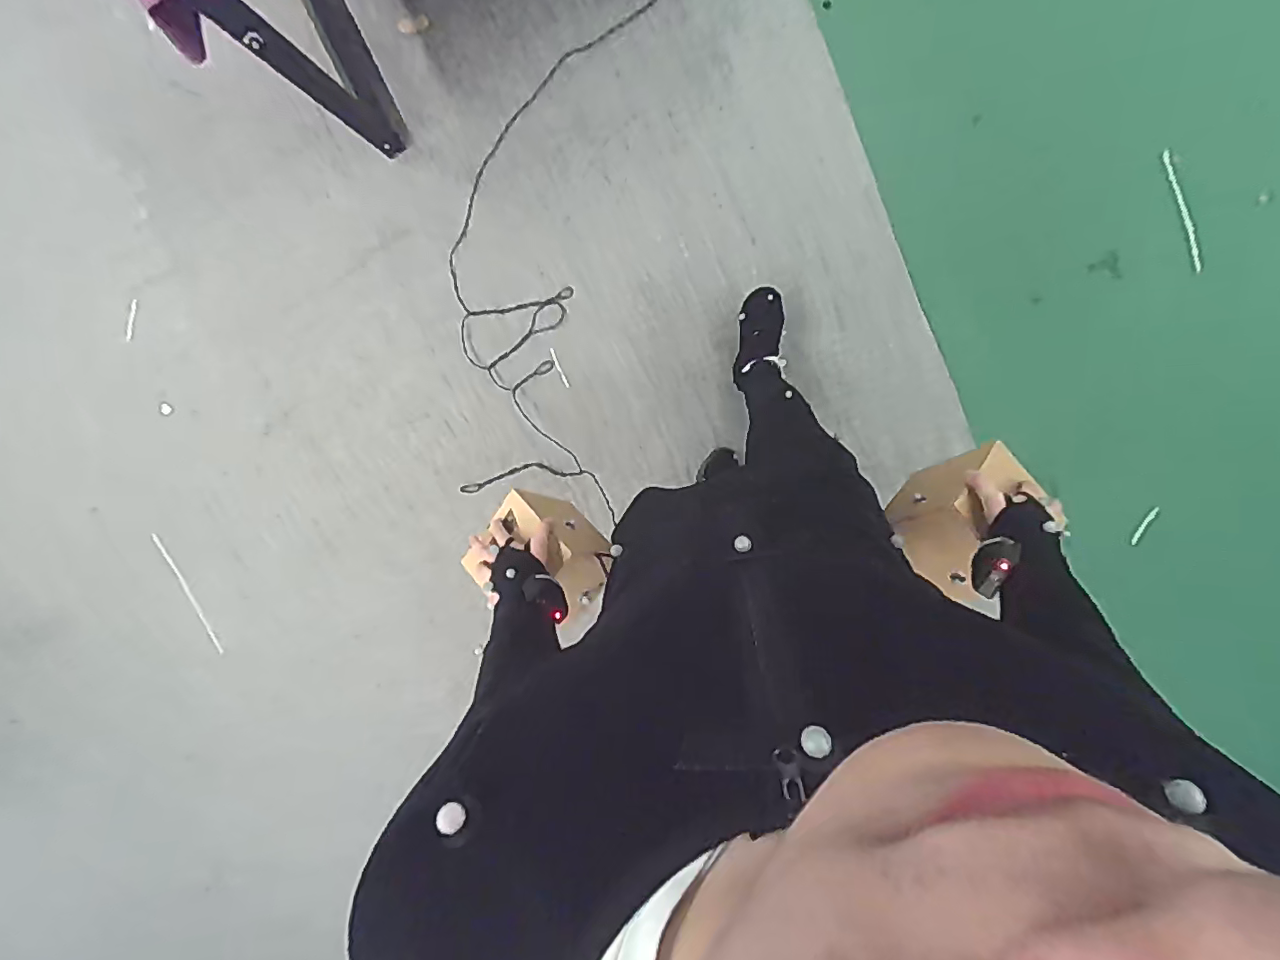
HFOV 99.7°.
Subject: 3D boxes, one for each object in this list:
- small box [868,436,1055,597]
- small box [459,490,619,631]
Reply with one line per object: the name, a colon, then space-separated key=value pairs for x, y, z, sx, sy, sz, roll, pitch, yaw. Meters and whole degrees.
small box: x=0.500 y=0.066 z=0.862 sx=0.179 sy=0.176 sz=0.168 roll=-40 pitch=89 yaw=-28
small box: x=-0.173 y=0.144 z=0.949 sx=0.179 sy=0.176 sz=0.168 roll=40 pitch=100 yaw=29
